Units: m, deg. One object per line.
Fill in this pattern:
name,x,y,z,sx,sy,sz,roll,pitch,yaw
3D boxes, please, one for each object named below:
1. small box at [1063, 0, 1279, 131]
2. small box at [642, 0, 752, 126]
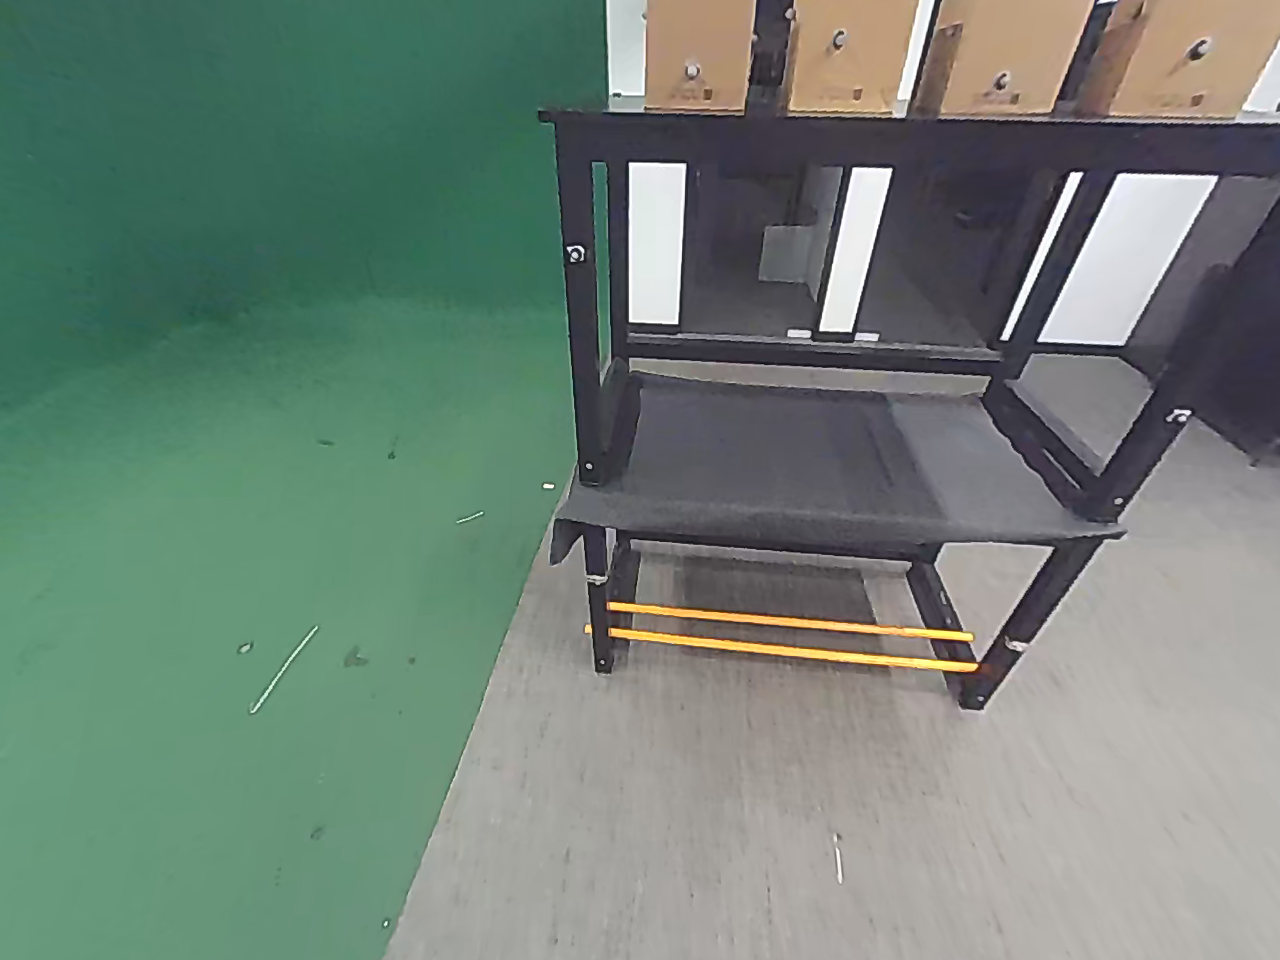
small box,0.807,-0.647,0.840,0.168,0.176,0.179,11,37,14
small box,0.091,-0.712,0.919,0.168,0.176,0.179,3,38,3
